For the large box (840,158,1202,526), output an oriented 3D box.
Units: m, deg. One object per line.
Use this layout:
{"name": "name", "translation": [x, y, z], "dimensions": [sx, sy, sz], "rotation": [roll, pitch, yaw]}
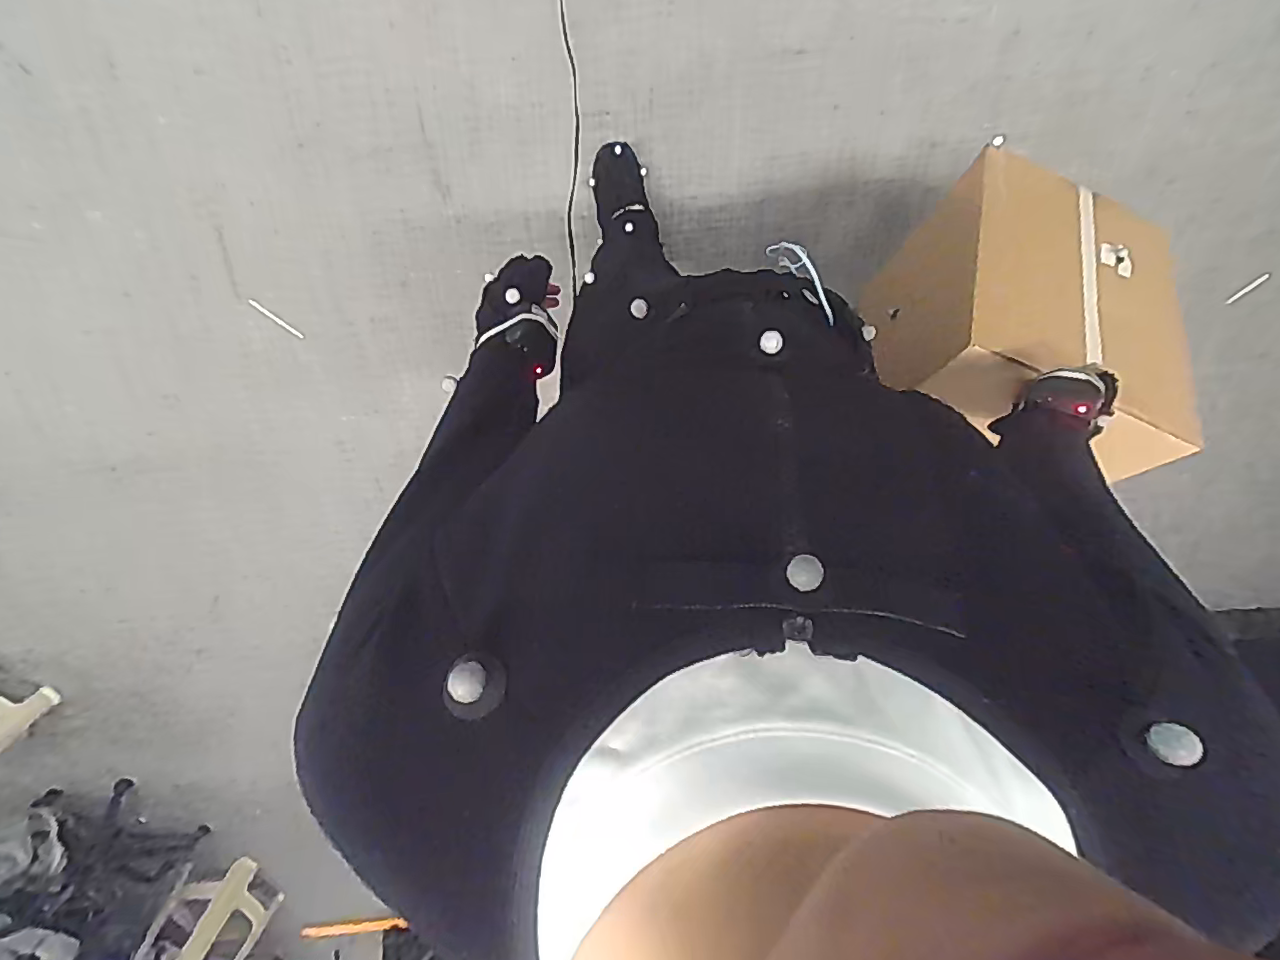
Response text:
{"name": "large box", "translation": [0.553, -0.197, 0.851], "dimensions": [0.320, 0.408, 0.320], "rotation": [23, 153, -3]}
